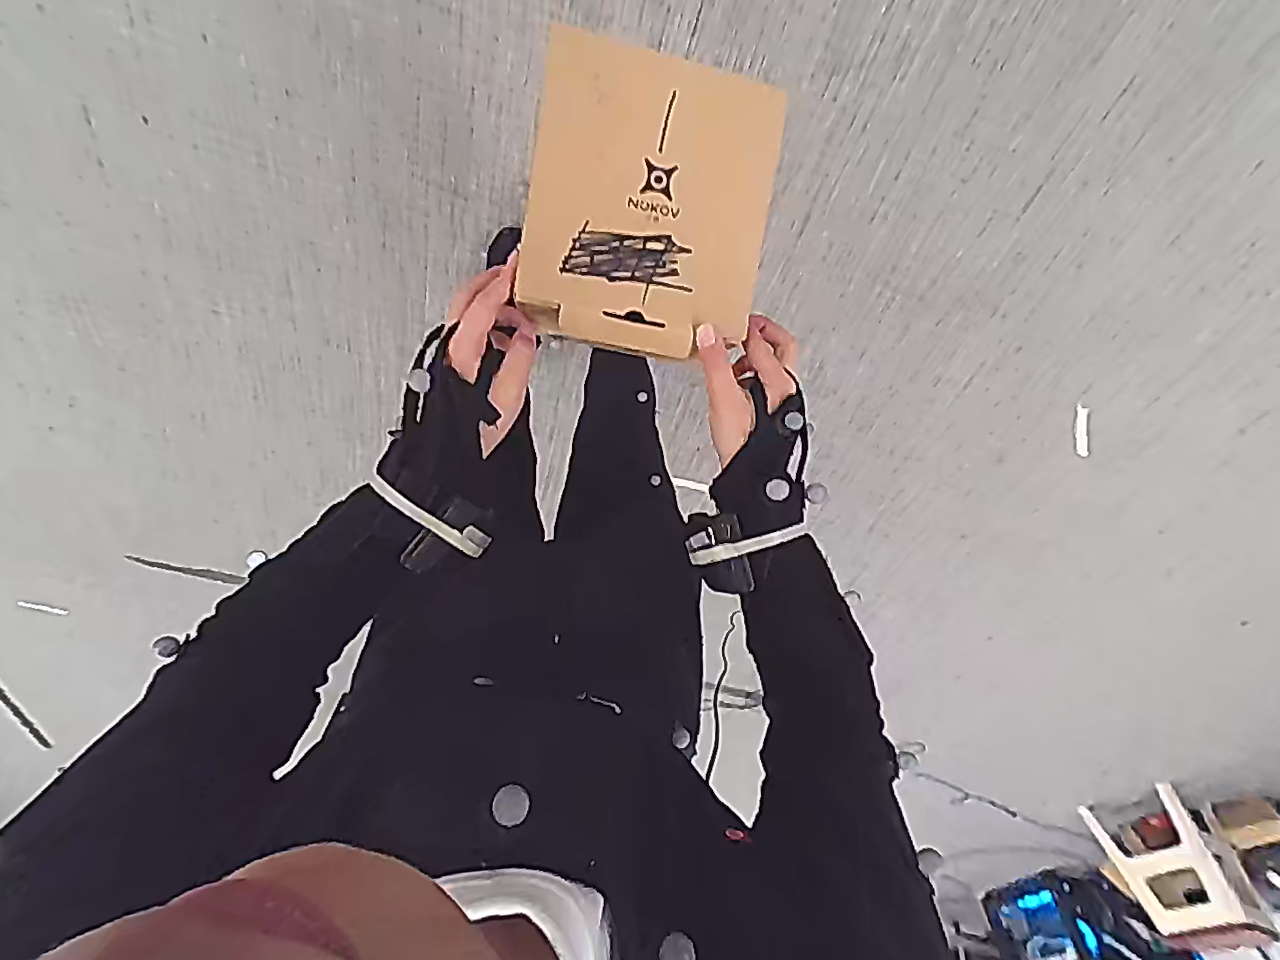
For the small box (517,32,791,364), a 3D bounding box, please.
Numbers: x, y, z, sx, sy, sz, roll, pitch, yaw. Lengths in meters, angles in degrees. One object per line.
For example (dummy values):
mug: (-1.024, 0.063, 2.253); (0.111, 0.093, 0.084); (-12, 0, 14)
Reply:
small box: (-0.001, -0.199, 0.444); (0.168, 0.176, 0.179); (8, 95, -10)
